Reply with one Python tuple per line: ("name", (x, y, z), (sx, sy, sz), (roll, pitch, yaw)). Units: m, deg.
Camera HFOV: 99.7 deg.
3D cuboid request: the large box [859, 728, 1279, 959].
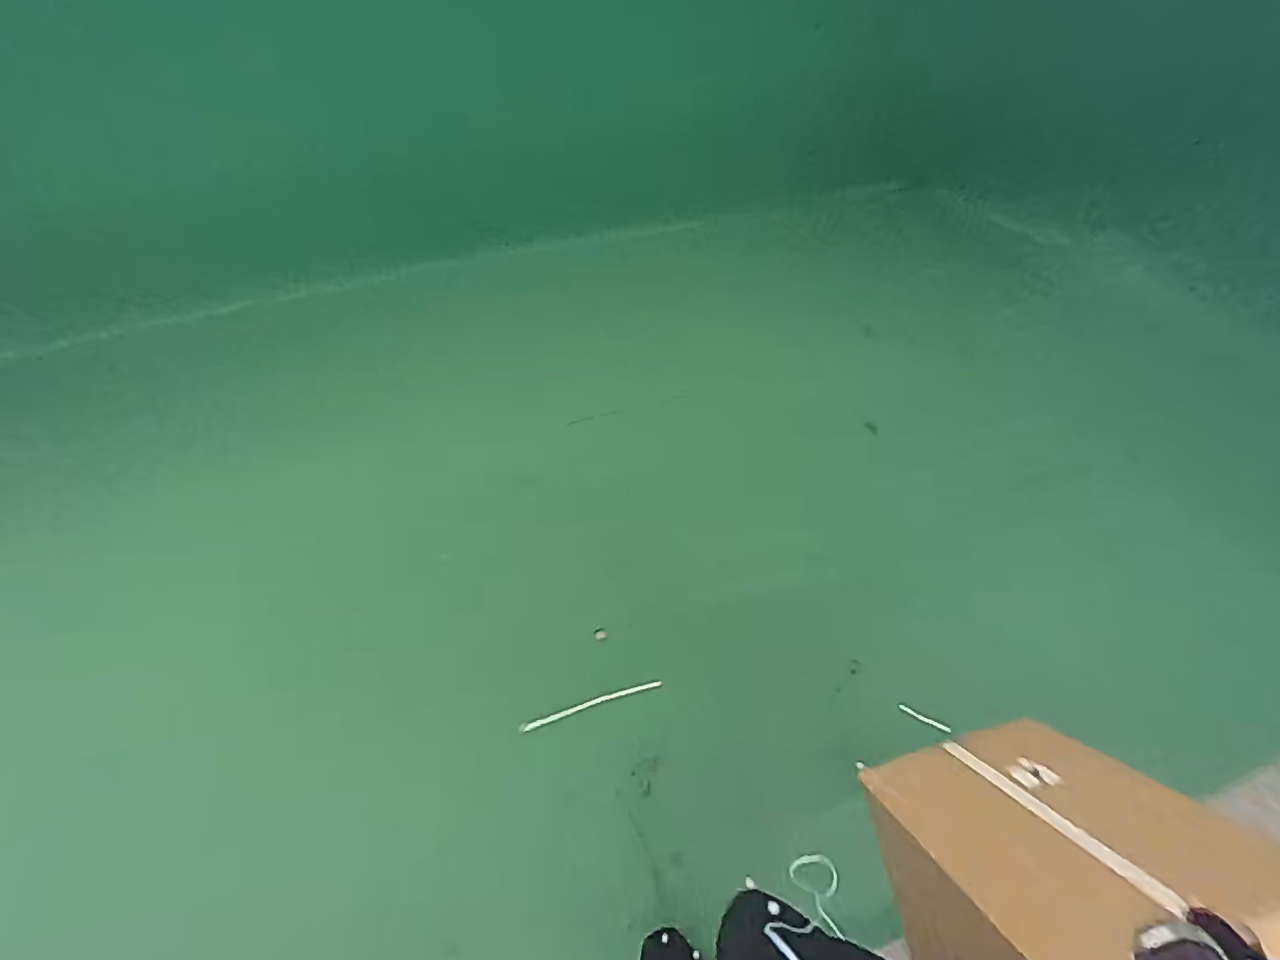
("large box", (0.558, 0.588, 0.696), (0.320, 0.408, 0.320), (-15, 87, -4))
